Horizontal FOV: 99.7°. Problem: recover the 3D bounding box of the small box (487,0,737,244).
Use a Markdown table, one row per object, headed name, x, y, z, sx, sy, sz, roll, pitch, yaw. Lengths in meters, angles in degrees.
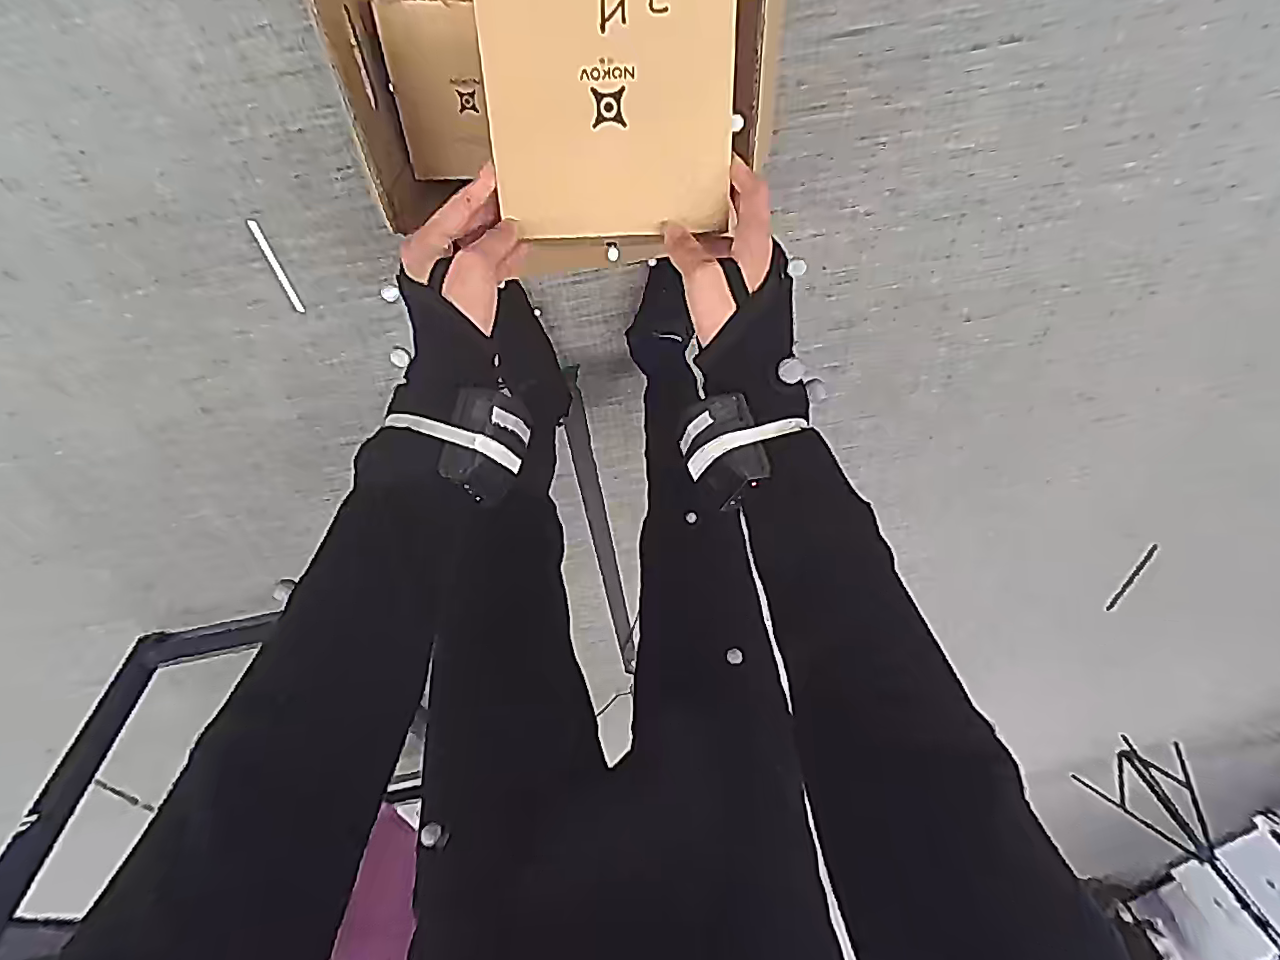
| name | x | y | z | sx | sy | sz | roll | pitch | yaw |
| --- | --- | --- | --- | --- | --- | --- | --- | --- | --- |
| small box | -0.018 | -0.290 | 0.445 | 0.168 | 0.176 | 0.179 | -2 | 111 | -1 |
